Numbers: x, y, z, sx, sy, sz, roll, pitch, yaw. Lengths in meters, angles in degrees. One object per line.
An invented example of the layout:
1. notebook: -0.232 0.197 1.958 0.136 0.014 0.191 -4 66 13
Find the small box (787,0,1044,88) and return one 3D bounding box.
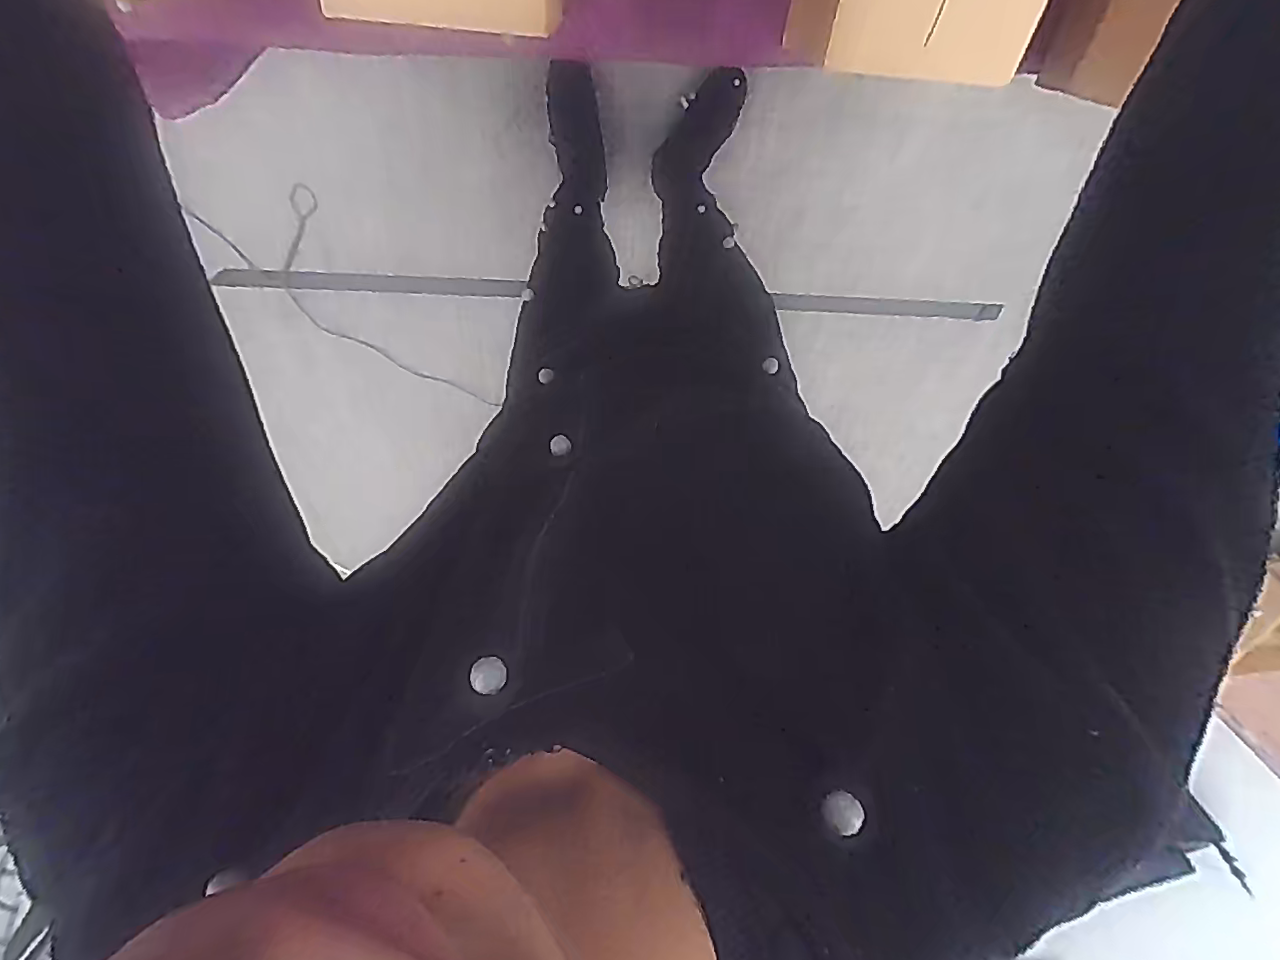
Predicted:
1. small box: 0.236 -0.456 0.454 0.168 0.176 0.179 3 134 -3

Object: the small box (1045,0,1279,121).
1. small box: 0.514 -0.438 0.477 0.168 0.176 0.179 2 134 -2
